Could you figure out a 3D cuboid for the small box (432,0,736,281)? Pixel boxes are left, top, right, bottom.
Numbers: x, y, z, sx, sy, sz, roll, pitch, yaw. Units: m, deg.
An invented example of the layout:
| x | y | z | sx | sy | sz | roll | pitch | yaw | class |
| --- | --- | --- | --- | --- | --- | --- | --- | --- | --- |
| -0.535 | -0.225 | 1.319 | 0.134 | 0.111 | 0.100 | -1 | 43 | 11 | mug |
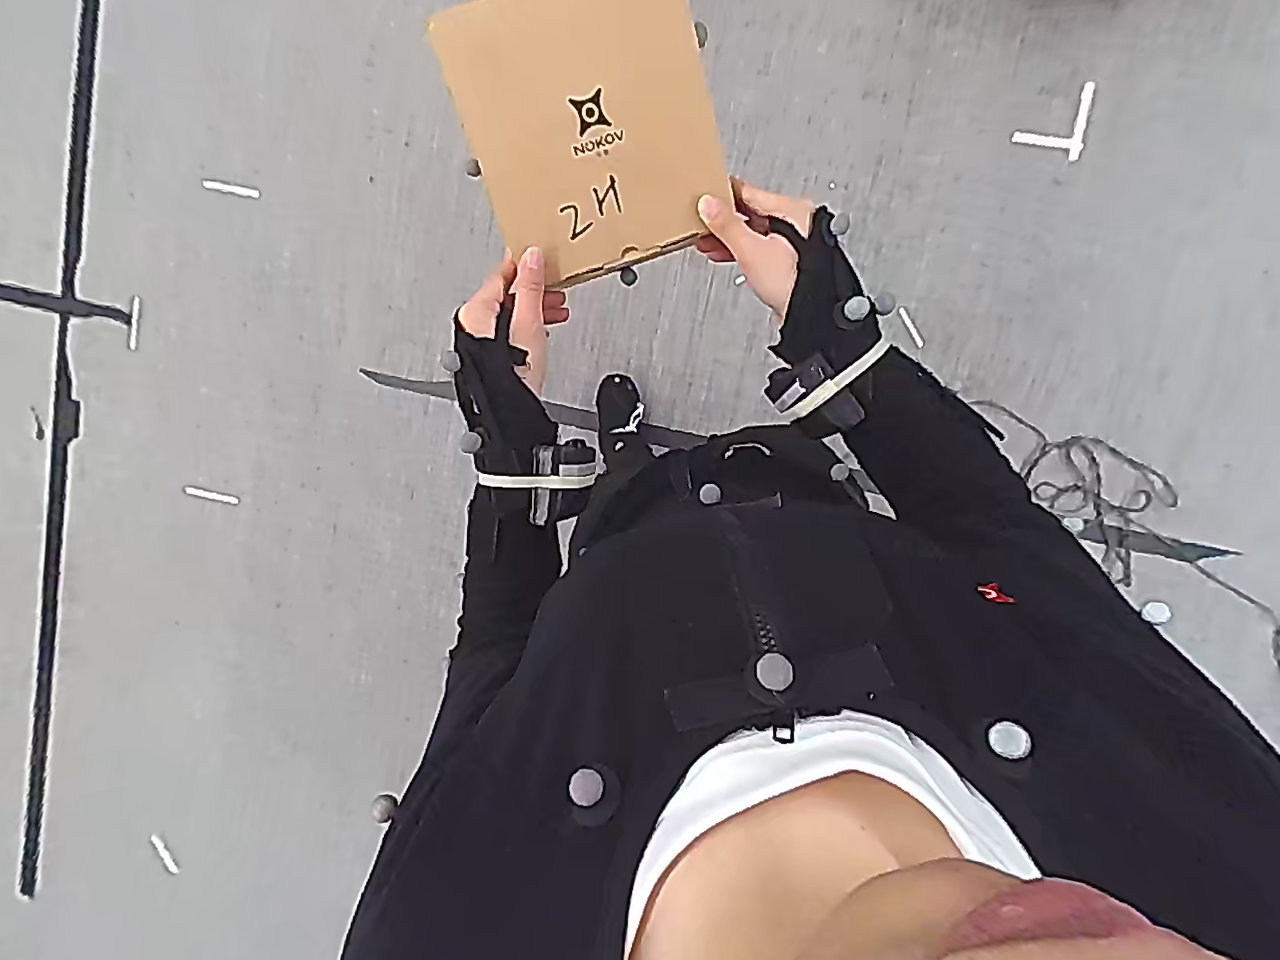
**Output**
| x | y | z | sx | sy | sz | roll | pitch | yaw | class |
| --- | --- | --- | --- | --- | --- | --- | --- | --- | --- |
| -0.037 | -0.274 | 0.439 | 0.168 | 0.176 | 0.179 | -17 | 109 | 3 | small box |
